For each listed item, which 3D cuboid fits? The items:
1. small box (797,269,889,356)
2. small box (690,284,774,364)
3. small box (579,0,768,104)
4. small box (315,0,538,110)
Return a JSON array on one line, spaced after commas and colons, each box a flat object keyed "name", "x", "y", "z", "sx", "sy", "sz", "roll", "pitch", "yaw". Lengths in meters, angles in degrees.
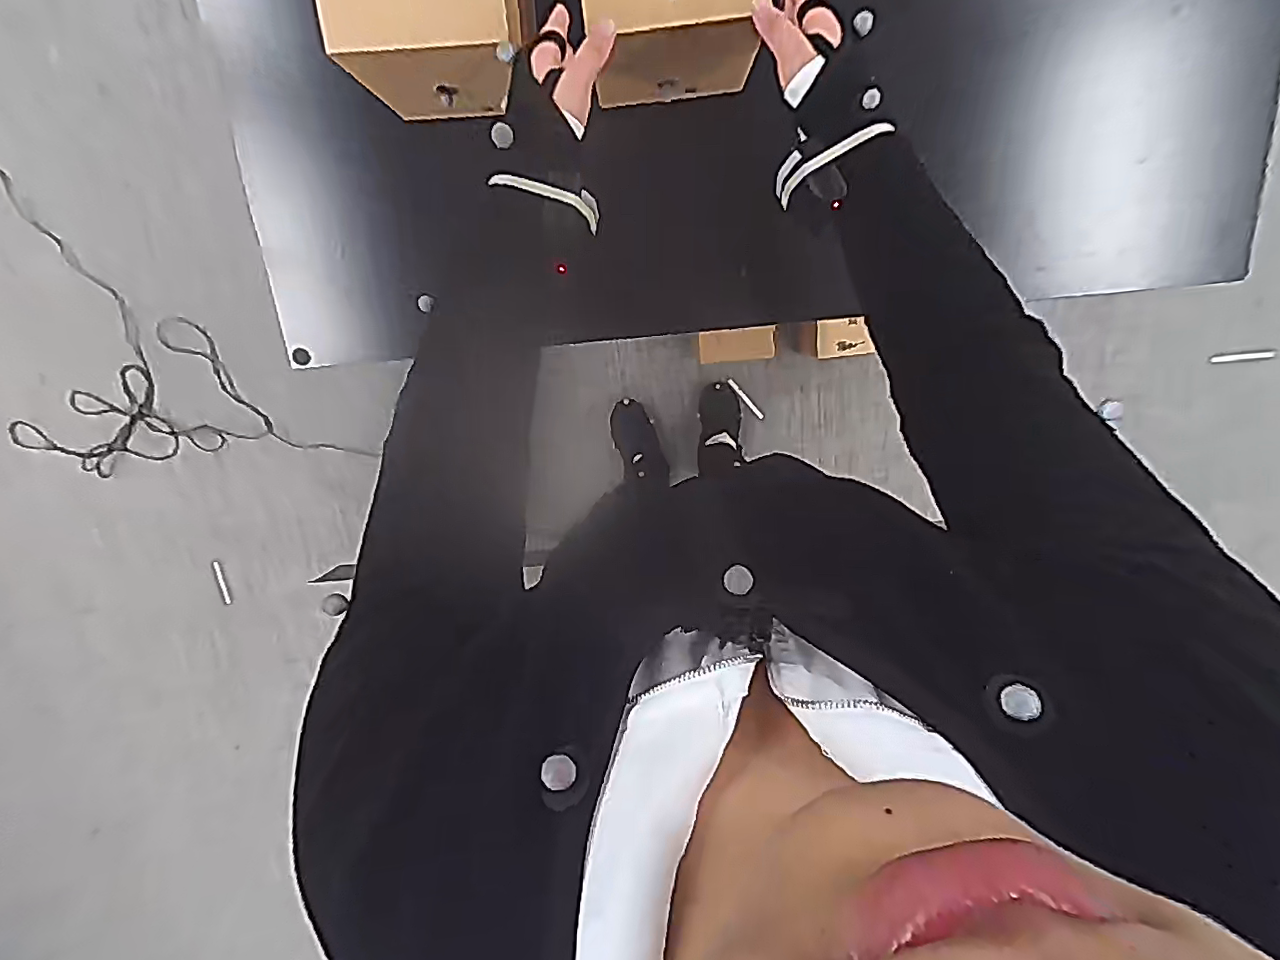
[{"name": "small box", "x": 0.481, "y": -0.396, "z": 1.300, "sx": 0.168, "sy": 0.176, "sz": 0.179, "roll": -6, "pitch": 105, "yaw": 3}, {"name": "small box", "x": 0.219, "y": -0.379, "z": 1.313, "sx": 0.179, "sy": 0.176, "sz": 0.168, "roll": -5, "pitch": 105, "yaw": 4}, {"name": "small box", "x": 0.023, "y": -0.502, "z": 0.522, "sx": 0.168, "sy": 0.176, "sz": 0.179, "roll": -5, "pitch": 106, "yaw": 3}, {"name": "small box", "x": -0.201, "y": -0.487, "z": 0.529, "sx": 0.168, "sy": 0.176, "sz": 0.179, "roll": -3, "pitch": 106, "yaw": 1}]
